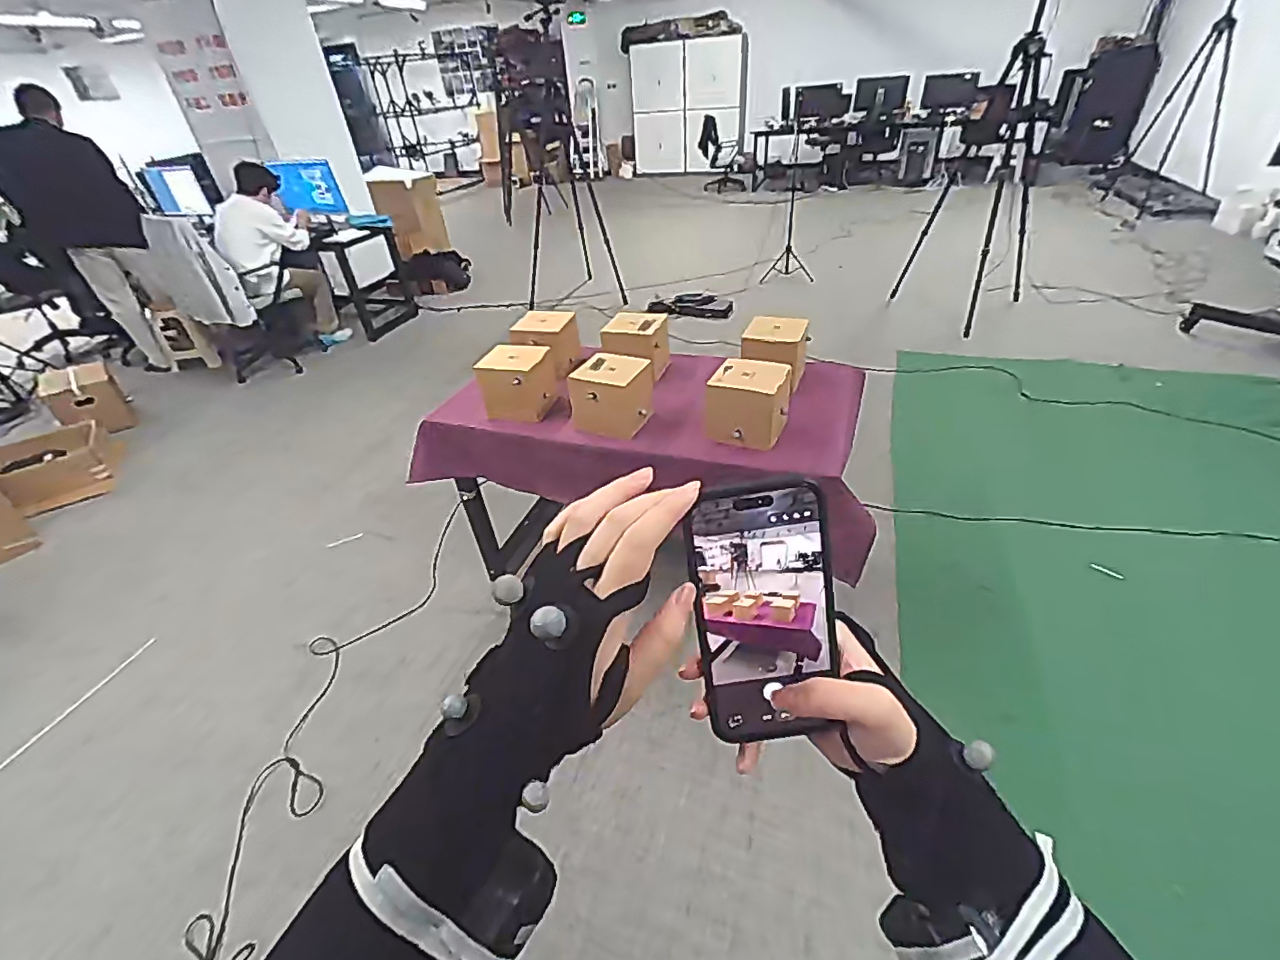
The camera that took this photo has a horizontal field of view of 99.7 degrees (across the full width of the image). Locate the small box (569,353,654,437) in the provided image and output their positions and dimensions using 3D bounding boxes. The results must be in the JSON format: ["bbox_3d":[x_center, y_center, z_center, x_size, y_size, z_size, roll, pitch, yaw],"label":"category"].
[{"bbox_3d":[-0.073,-0.237,1.509,0.179,0.176,0.168,14,41,22],"label":"small box"}]

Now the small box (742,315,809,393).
[{"bbox_3d":[0.407,-0.383,1.642,0.168,0.176,0.179,11,41,22],"label":"small box"}]

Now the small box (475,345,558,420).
[{"bbox_3d":[-0.361,-0.292,1.619,0.179,0.176,0.168,6,38,13],"label":"small box"}]

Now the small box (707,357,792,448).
[{"bbox_3d":[0.285,-0.201,1.417,0.179,0.176,0.168,14,41,24],"label":"small box"}]
